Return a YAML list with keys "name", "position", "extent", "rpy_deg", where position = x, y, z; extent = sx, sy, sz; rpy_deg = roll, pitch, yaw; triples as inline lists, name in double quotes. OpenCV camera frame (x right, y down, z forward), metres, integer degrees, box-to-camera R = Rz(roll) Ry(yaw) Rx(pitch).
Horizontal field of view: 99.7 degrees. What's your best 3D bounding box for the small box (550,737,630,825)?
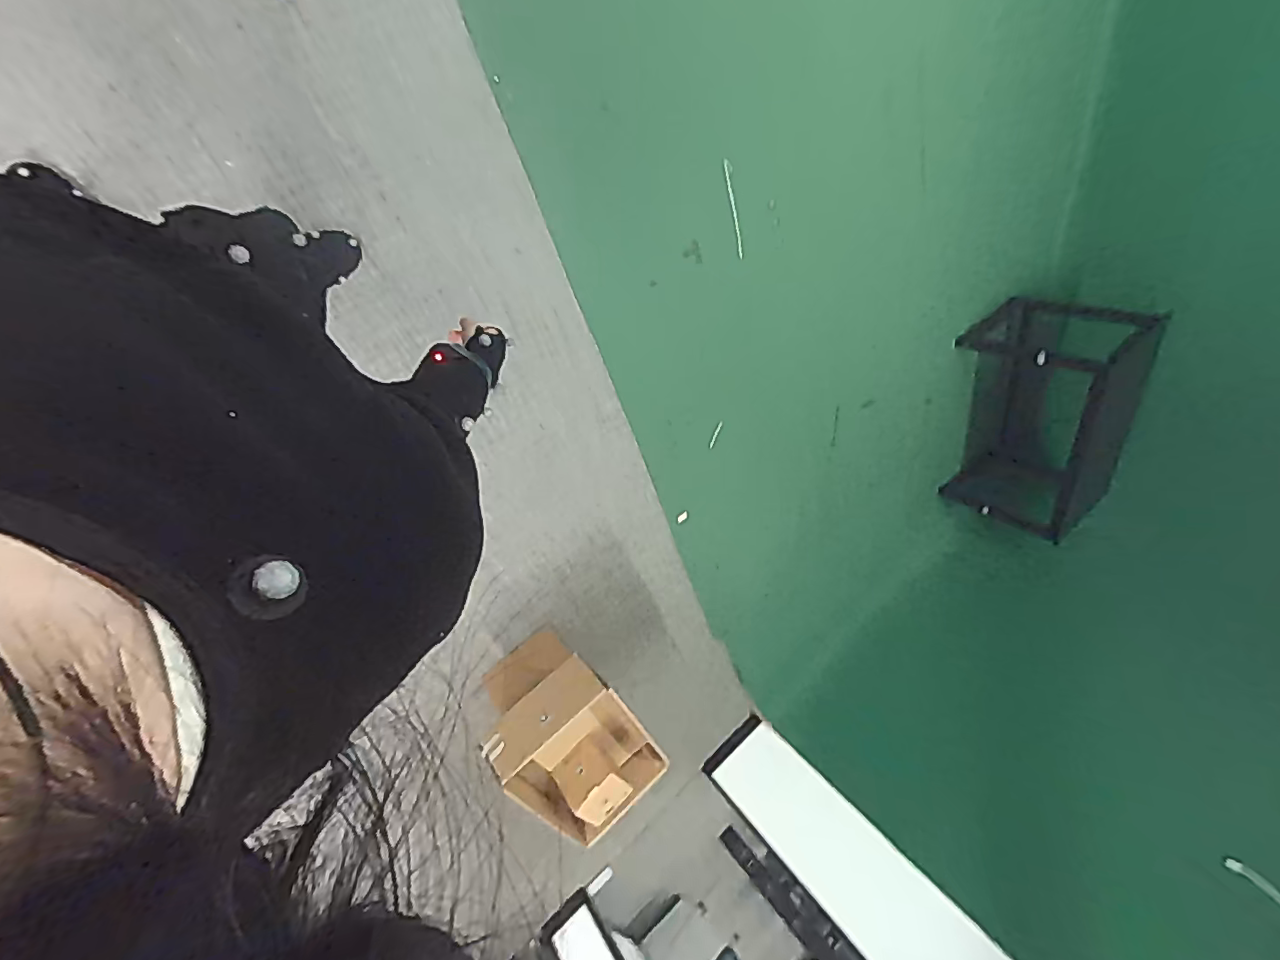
- name: "small box"
  position: [-0.169, 0.993, 1.798]
  extent: [0.168, 0.176, 0.179]
  rpy_deg: [-41, 130, -13]
